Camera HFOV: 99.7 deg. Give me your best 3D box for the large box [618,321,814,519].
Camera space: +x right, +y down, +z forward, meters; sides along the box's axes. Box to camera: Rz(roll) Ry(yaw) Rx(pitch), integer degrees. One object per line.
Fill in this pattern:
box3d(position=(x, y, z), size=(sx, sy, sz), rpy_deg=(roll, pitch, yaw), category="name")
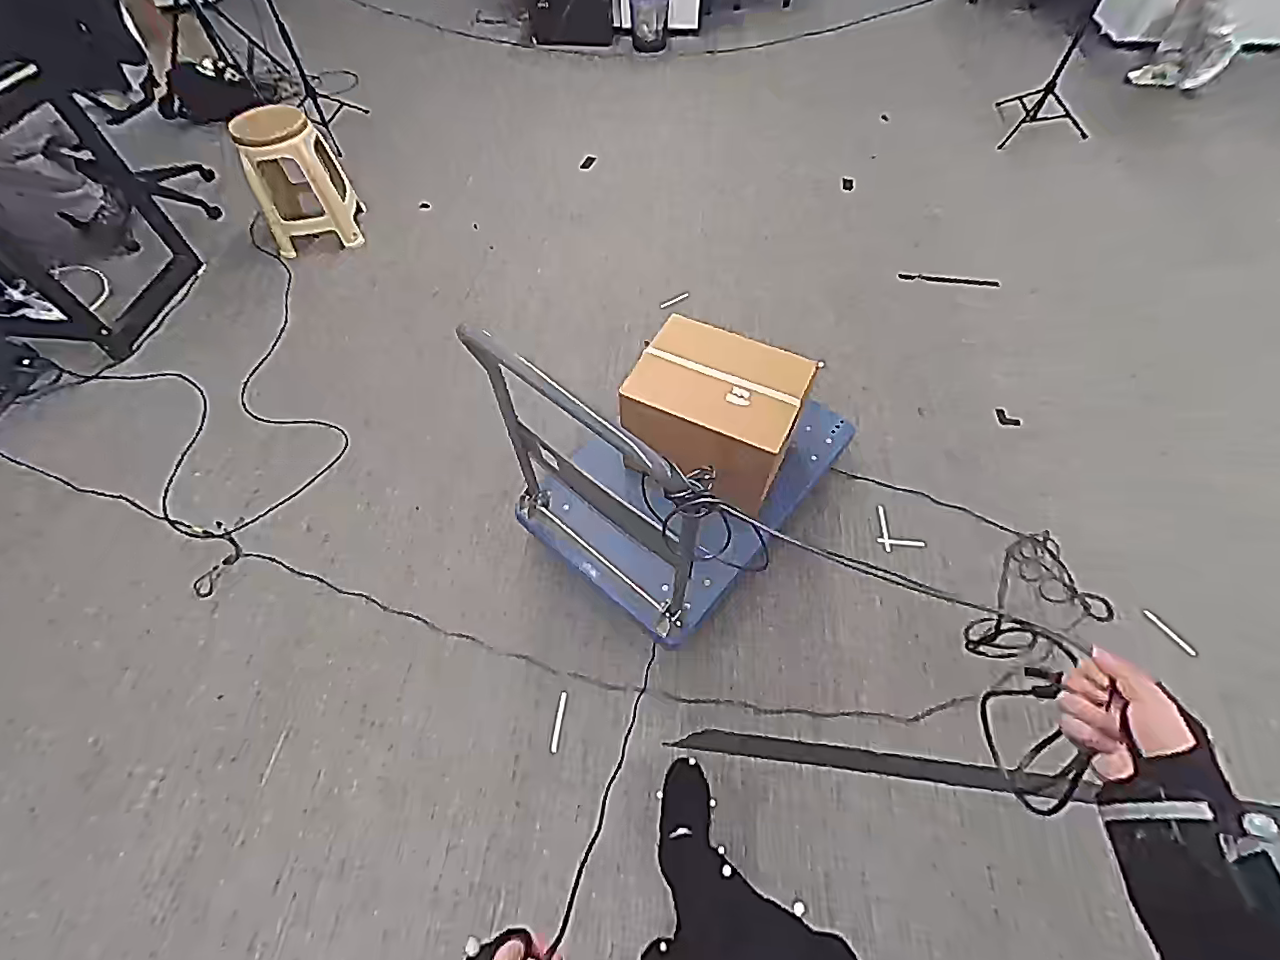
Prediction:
box3d(position=(0.185, -0.157, 1.434), size=(0.408, 0.320, 0.320), rpy_deg=(23, 61, 14), category="large box")
